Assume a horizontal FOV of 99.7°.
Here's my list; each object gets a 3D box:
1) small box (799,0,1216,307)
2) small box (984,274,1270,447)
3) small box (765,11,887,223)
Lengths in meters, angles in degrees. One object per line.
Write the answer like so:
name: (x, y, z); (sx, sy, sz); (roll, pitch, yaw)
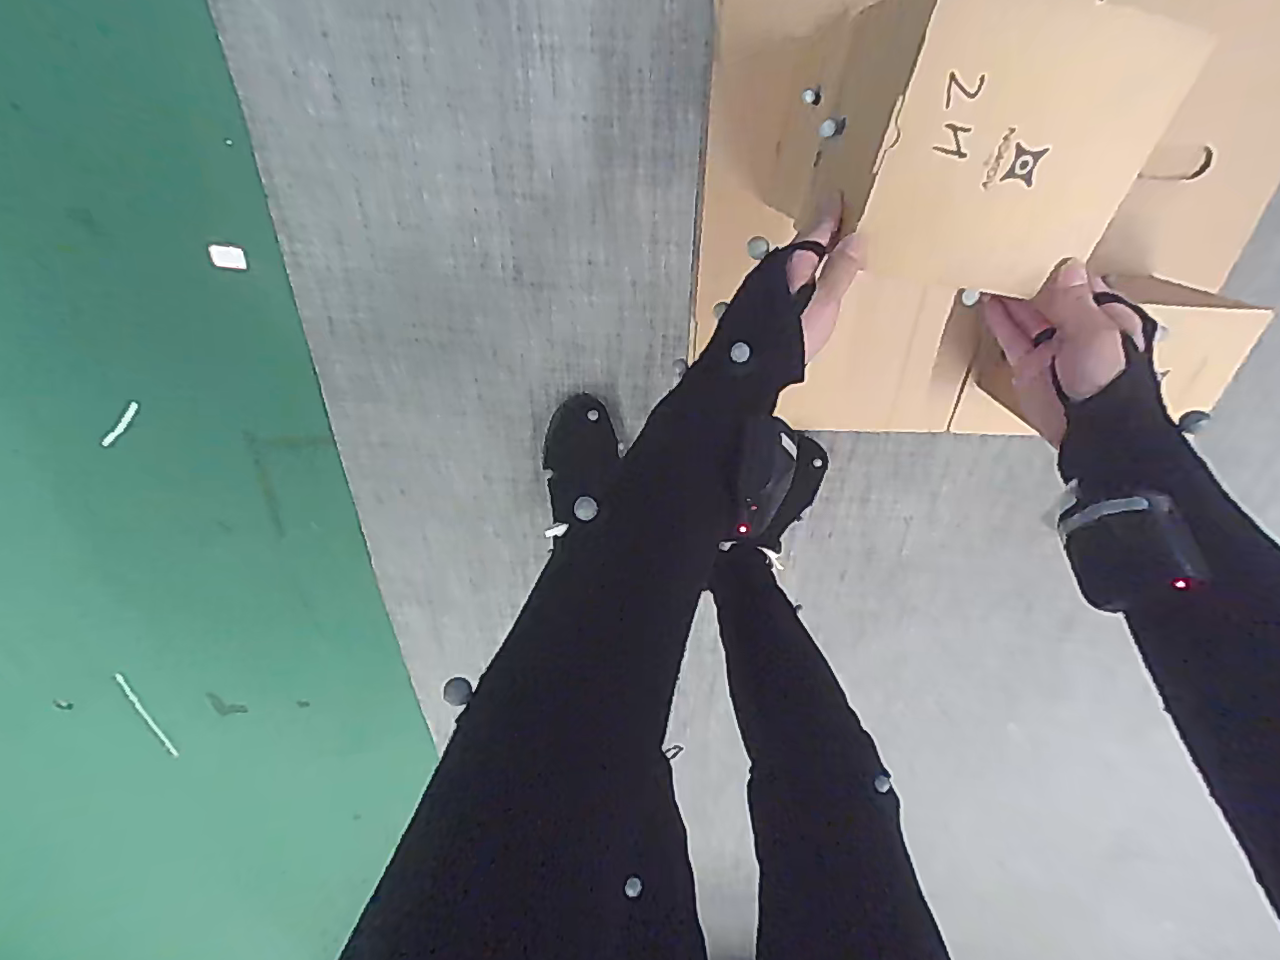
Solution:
small box: (0.249, -0.254, 0.425); (0.179, 0.176, 0.168); (8, 123, -5)
small box: (0.582, -0.157, 0.683); (0.179, 0.176, 0.168); (3, 122, 0)
small box: (0.248, -0.352, 0.565); (0.179, 0.176, 0.168); (9, 121, -5)
